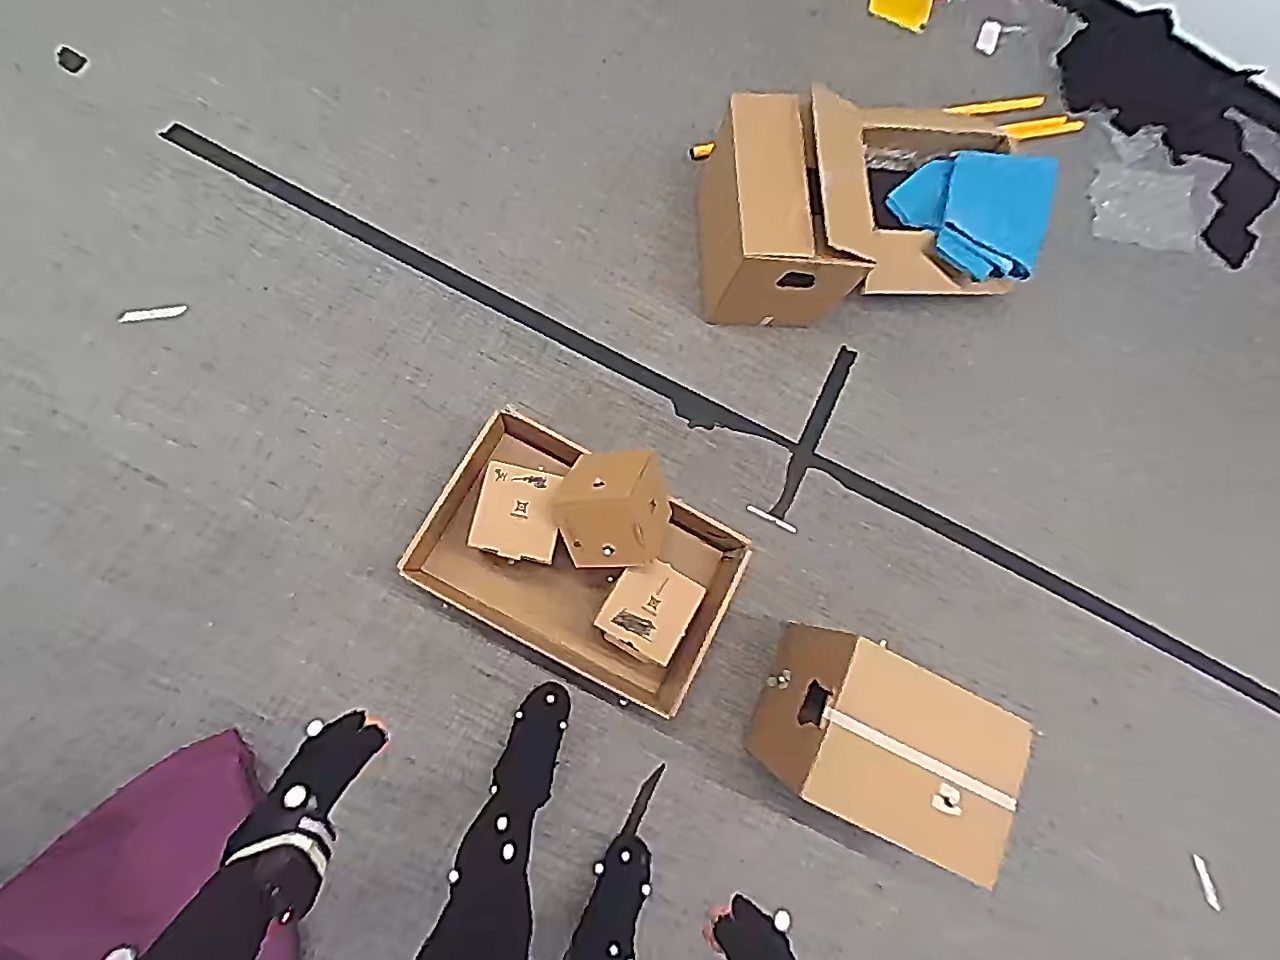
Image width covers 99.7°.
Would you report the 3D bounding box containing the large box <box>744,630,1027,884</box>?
[{"bbox_3d":[0.497,0.550,1.153,0.408,0.320,0.320,27,77,-4],"label":"large box"}]
